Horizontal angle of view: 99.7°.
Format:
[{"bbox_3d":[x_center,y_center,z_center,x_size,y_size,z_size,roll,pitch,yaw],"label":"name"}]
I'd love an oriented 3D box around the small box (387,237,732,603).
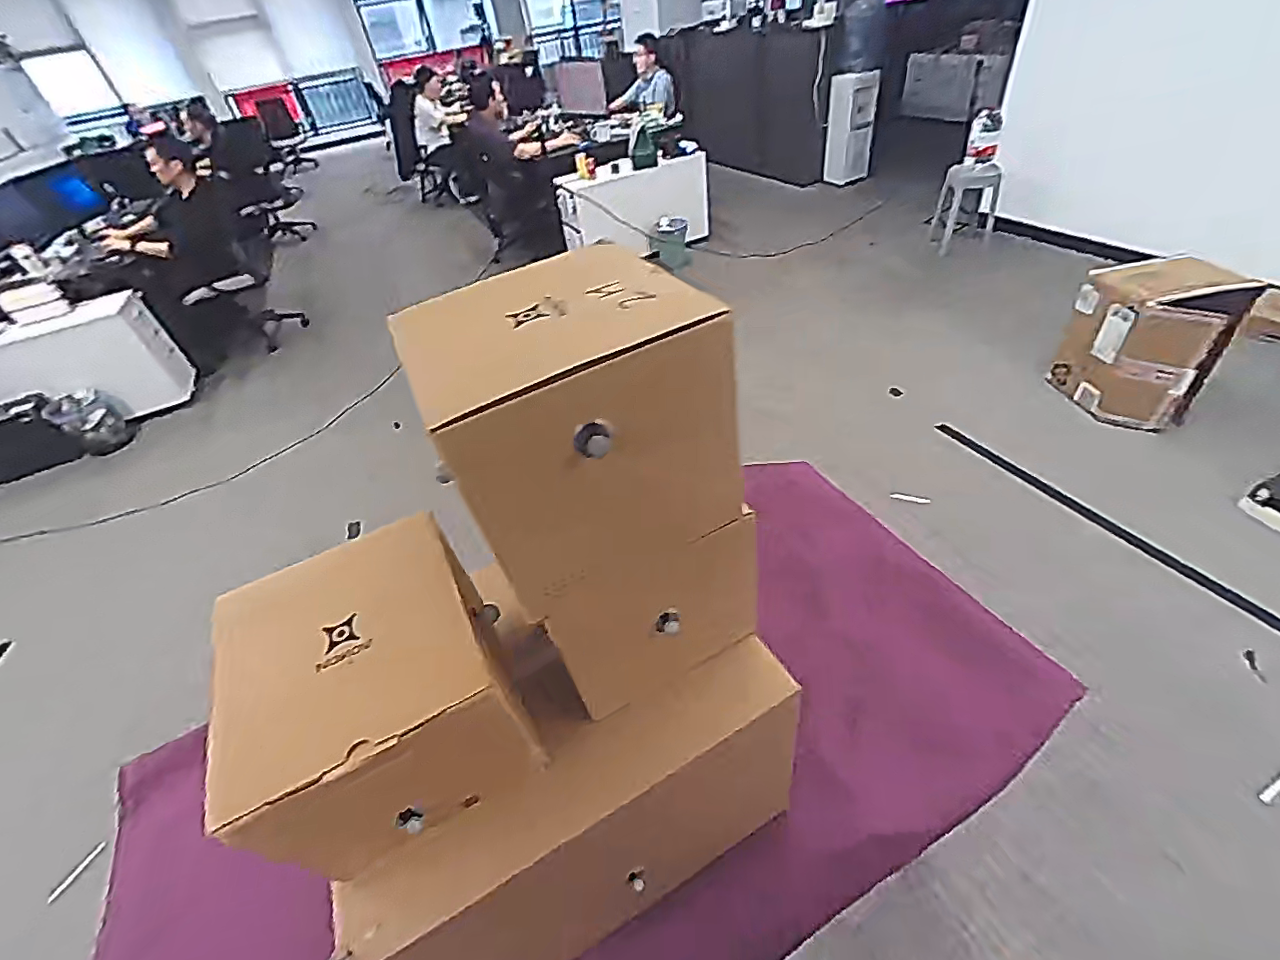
[{"bbox_3d":[-0.049,-0.045,0.384,0.179,0.176,0.168,-25,43,-14],"label":"small box"}]
